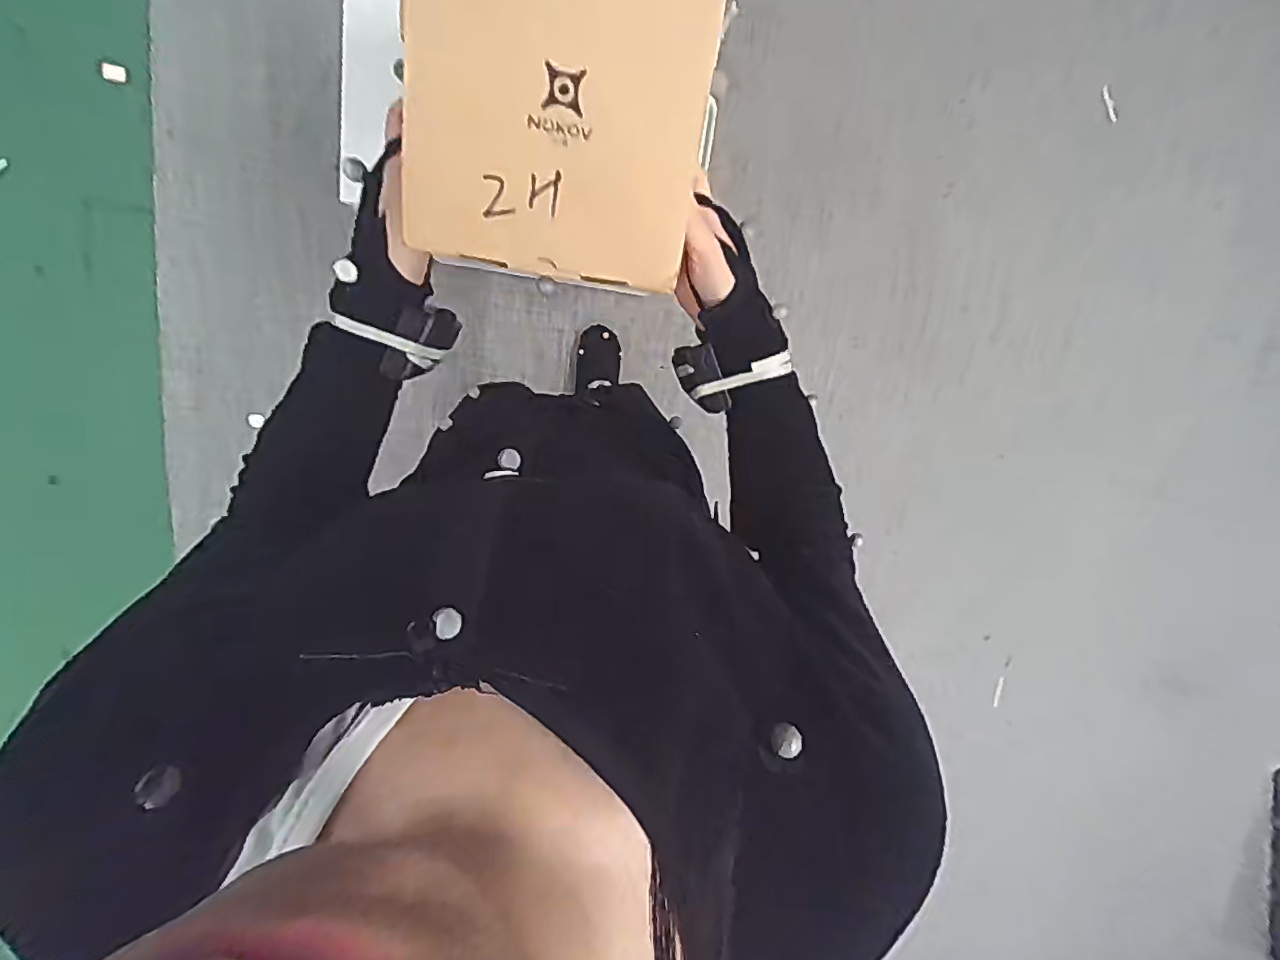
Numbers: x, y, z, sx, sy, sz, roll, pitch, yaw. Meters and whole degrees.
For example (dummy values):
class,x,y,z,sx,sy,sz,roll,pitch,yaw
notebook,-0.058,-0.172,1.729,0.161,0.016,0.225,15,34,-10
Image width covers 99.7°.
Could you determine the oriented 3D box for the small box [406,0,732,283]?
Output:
class,x,y,z,sx,sy,sz,roll,pitch,yaw
small box,-0.051,-0.239,0.368,0.168,0.176,0.179,6,110,-10
